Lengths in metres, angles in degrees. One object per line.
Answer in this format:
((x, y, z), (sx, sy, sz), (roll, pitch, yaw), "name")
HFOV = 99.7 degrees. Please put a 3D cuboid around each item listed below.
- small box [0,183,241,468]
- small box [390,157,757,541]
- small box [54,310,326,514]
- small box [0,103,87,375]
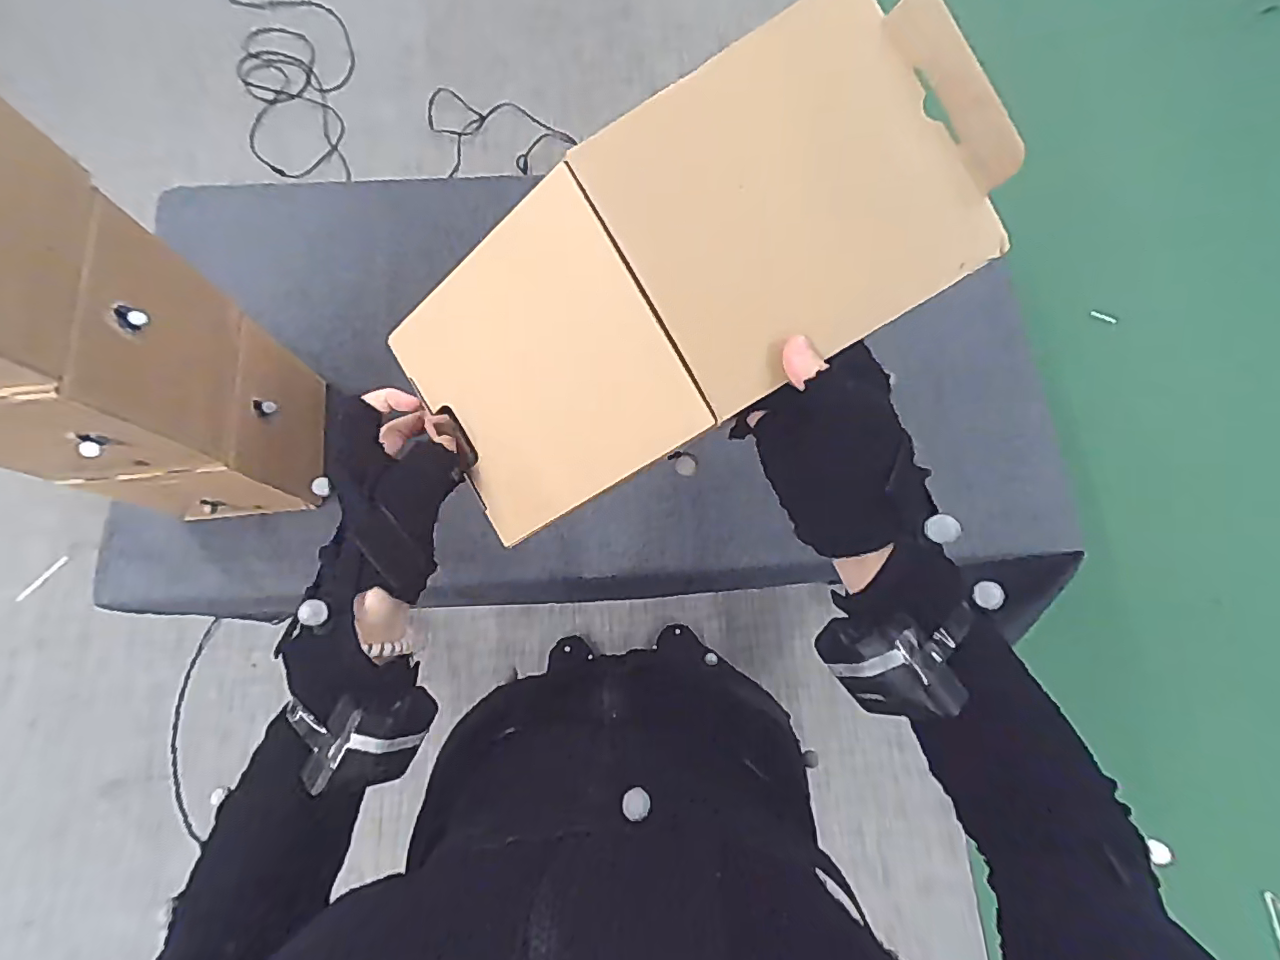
((-0.482, -0.114, 0.461), (0.168, 0.176, 0.179), (-5, 75, -3), "small box")
((-0.030, -0.084, 0.394), (0.179, 0.176, 0.168), (-29, 90, 27), "small box")
((-0.486, -0.068, 0.617), (0.168, 0.176, 0.179), (-6, 75, -3), "small box")
((-0.479, -0.165, 0.305), (0.168, 0.176, 0.179), (-6, 75, -4), "small box")
